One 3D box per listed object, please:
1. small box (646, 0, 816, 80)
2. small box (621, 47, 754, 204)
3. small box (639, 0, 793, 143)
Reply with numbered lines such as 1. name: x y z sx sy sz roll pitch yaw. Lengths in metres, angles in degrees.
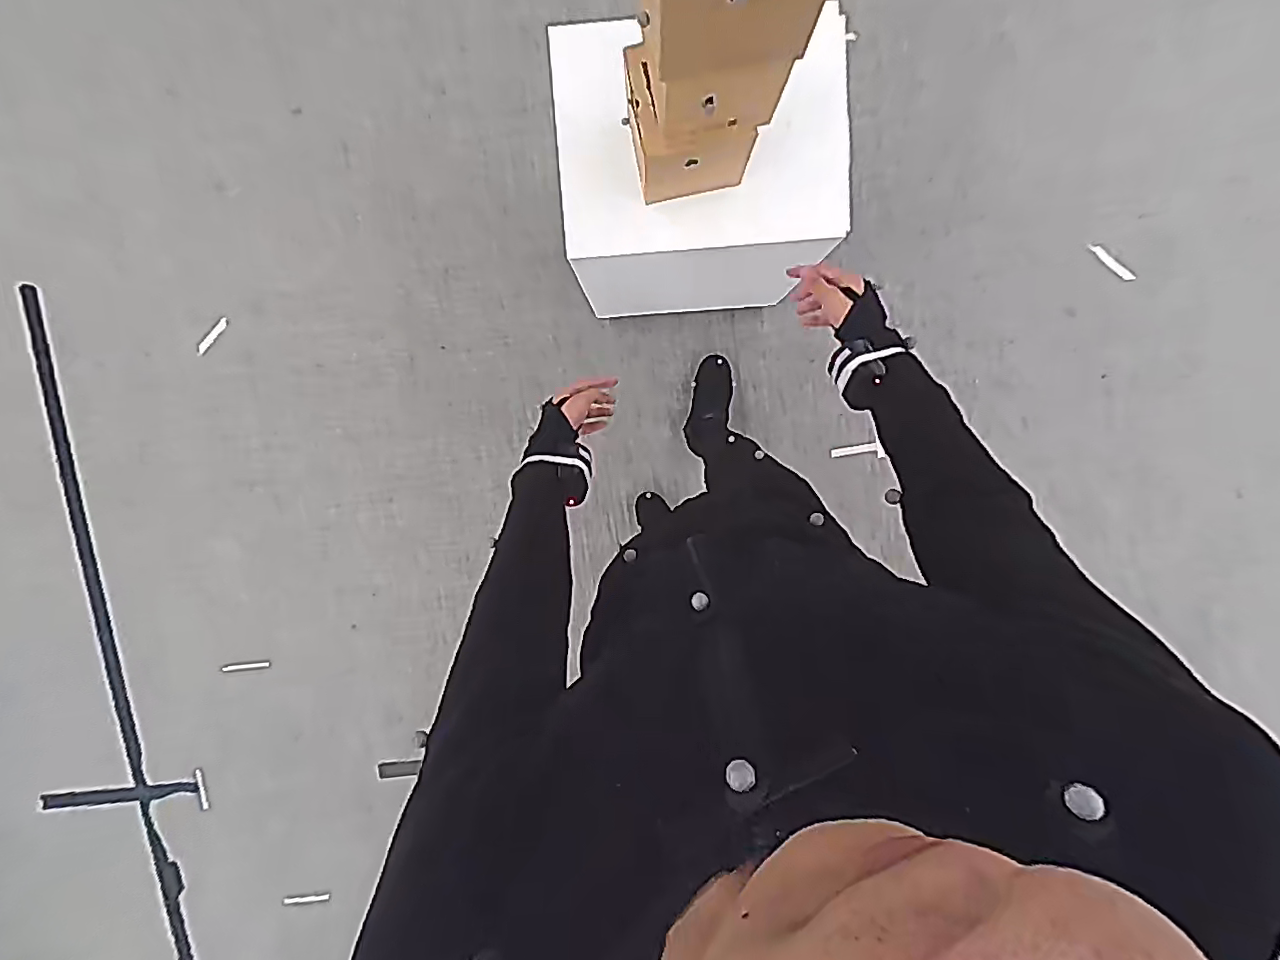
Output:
1. small box: 0.090 -0.555 0.558 0.179 0.176 0.168 -8 95 1
2. small box: 0.073 -0.578 0.885 0.179 0.176 0.168 -12 95 1
3. small box: 0.094 -0.583 0.722 0.168 0.176 0.179 -11 94 2
